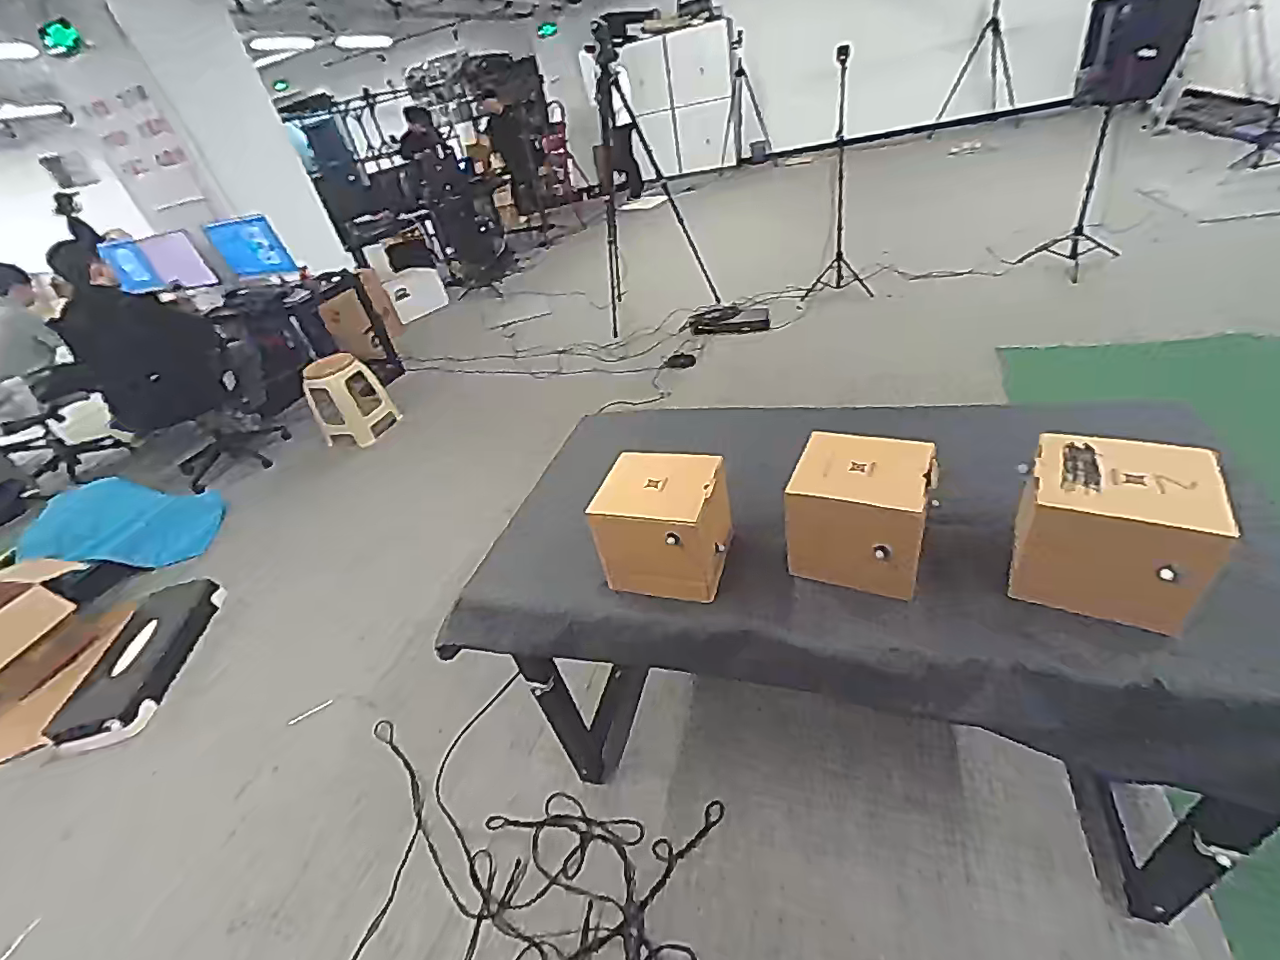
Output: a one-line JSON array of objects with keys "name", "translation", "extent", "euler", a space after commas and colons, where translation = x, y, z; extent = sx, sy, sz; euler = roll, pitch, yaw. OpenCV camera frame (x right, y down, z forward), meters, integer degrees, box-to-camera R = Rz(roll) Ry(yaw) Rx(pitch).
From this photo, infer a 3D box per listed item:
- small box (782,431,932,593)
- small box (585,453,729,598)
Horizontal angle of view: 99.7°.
[{"name": "small box", "translation": [0.326, 0.046, 0.812], "extent": [0.179, 0.176, 0.168], "euler": [8, 39, 30]}, {"name": "small box", "translation": [0.037, 0.071, 0.876], "extent": [0.179, 0.176, 0.168], "euler": [3, 37, 22]}]
